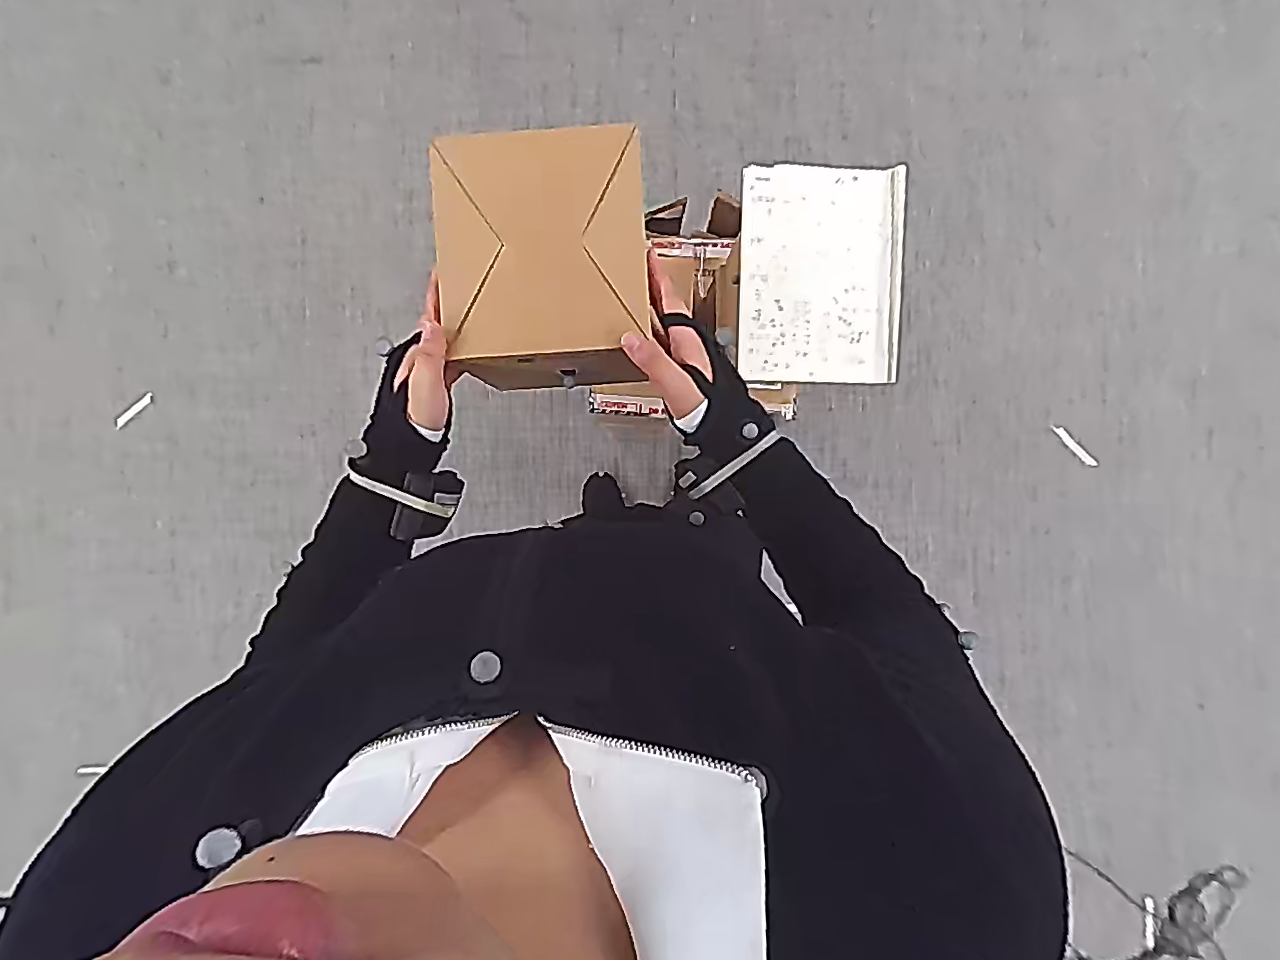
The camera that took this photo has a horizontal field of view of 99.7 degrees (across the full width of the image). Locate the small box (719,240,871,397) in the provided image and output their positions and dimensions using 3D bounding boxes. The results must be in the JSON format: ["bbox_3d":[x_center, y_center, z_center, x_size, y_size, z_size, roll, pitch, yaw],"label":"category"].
[{"bbox_3d":[0.211,-0.220,0.777,0.168,0.176,0.179,2,92,-2],"label":"small box"}]
